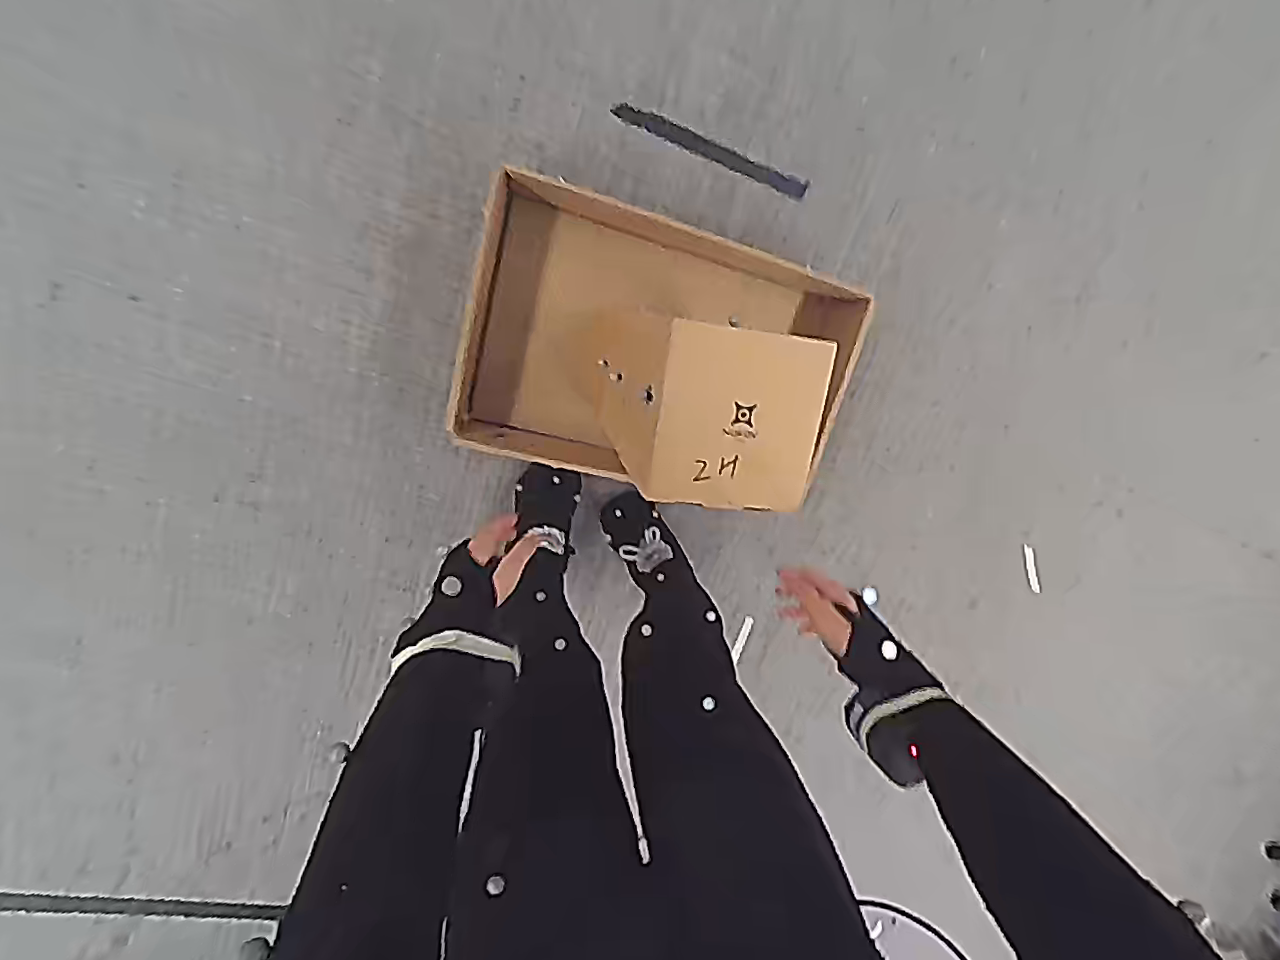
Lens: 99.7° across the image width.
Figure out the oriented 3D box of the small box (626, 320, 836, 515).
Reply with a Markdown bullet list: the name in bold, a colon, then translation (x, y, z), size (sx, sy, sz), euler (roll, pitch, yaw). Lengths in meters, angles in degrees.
- **small box**: translation (0.085, -0.076, 0.601), size (0.168, 0.176, 0.179), euler (6, 106, -12)
